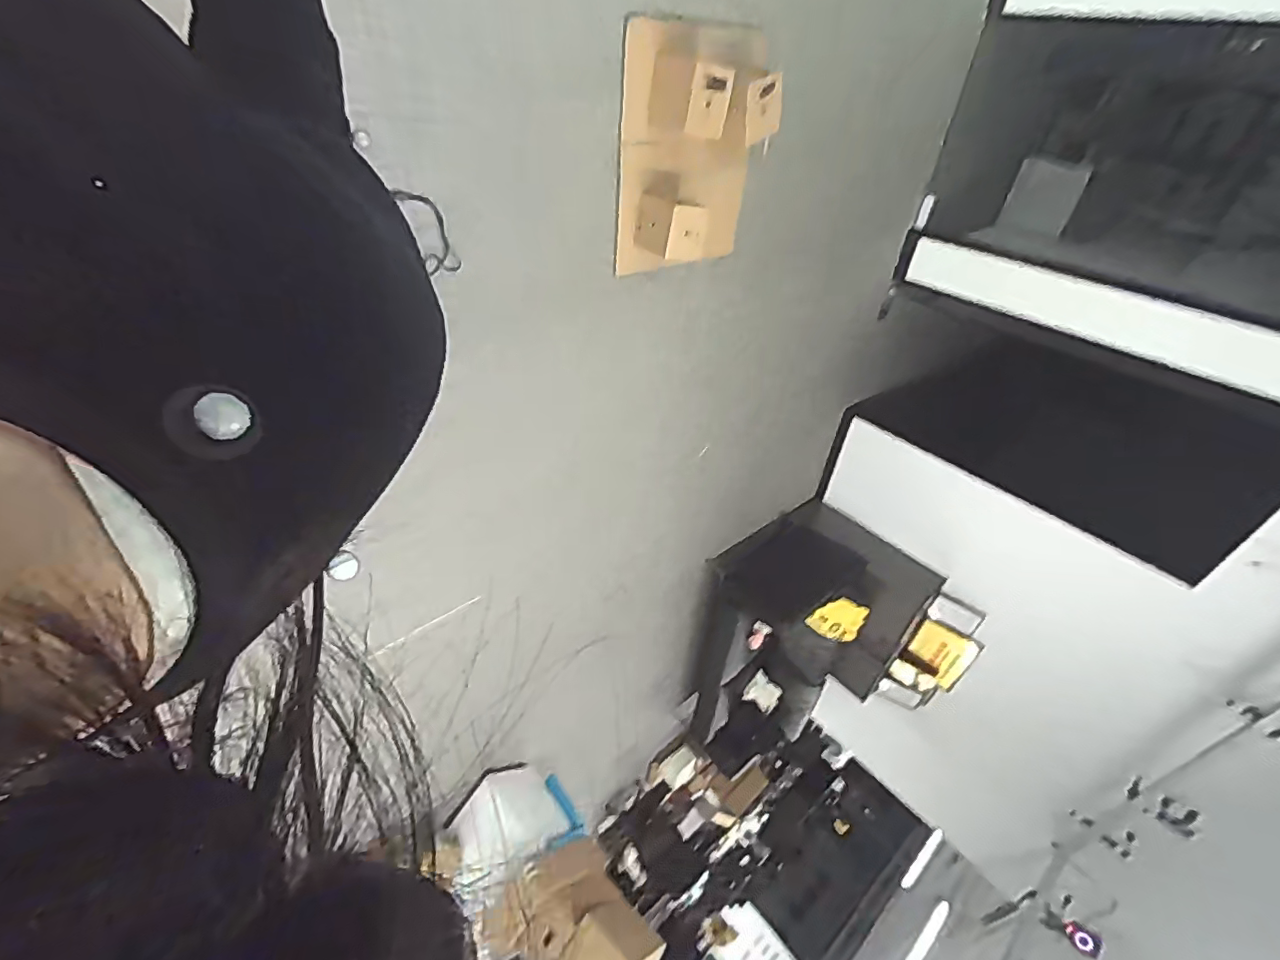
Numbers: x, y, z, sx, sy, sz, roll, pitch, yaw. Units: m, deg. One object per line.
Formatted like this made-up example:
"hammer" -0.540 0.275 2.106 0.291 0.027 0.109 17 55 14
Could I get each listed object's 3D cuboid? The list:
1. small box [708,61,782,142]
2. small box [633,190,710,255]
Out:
"small box" 0.334 -1.226 1.743 0.168 0.176 0.179 -36 145 -22
"small box" 0.101 -0.860 1.807 0.179 0.176 0.168 -20 136 -38
